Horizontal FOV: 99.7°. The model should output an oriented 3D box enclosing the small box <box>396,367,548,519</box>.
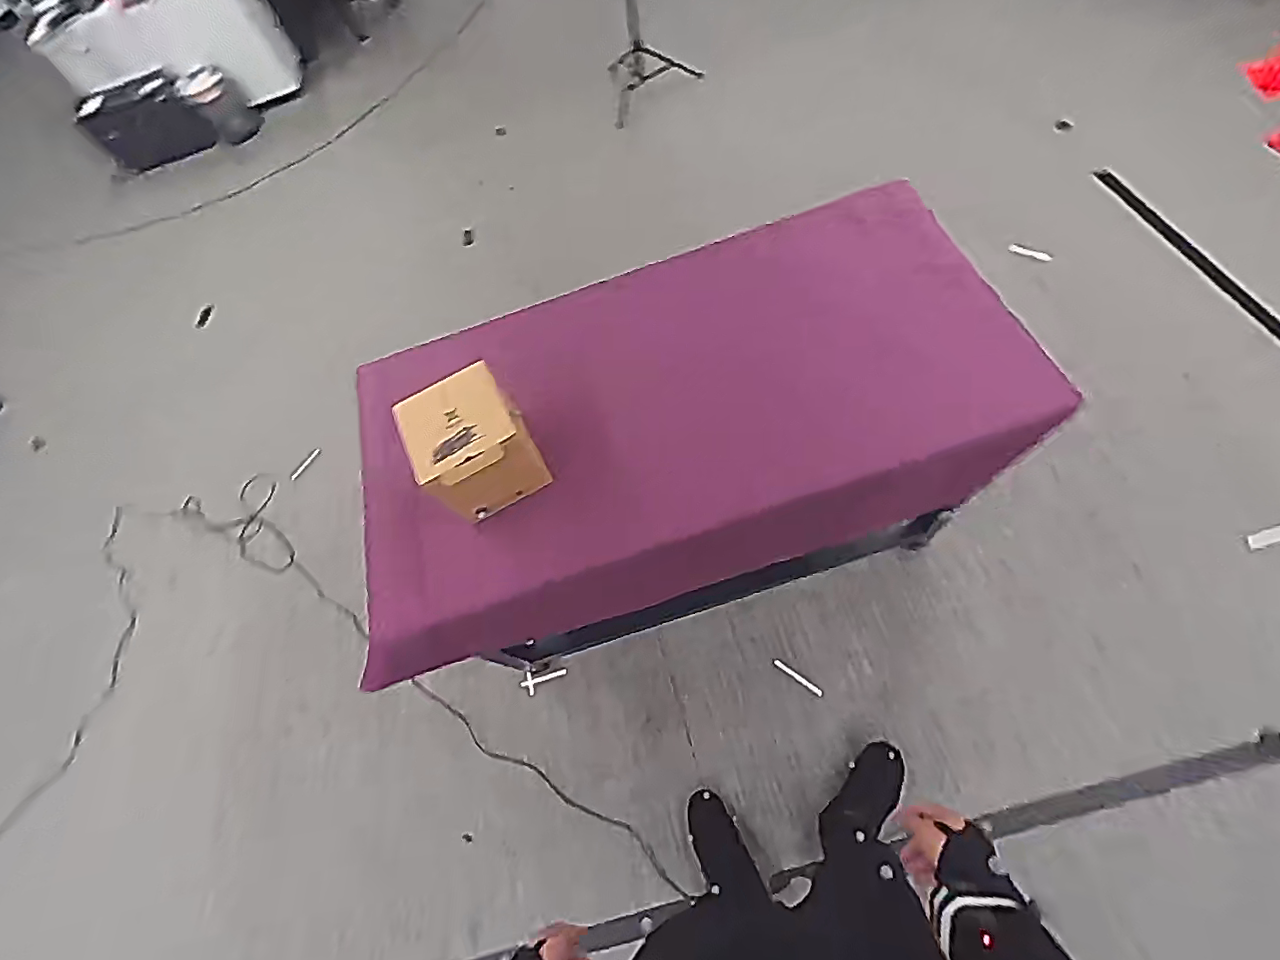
[{"bbox_3d":[-0.279,-0.052,0.928,0.168,0.176,0.179,-29,62,-4],"label":"small box"}]
